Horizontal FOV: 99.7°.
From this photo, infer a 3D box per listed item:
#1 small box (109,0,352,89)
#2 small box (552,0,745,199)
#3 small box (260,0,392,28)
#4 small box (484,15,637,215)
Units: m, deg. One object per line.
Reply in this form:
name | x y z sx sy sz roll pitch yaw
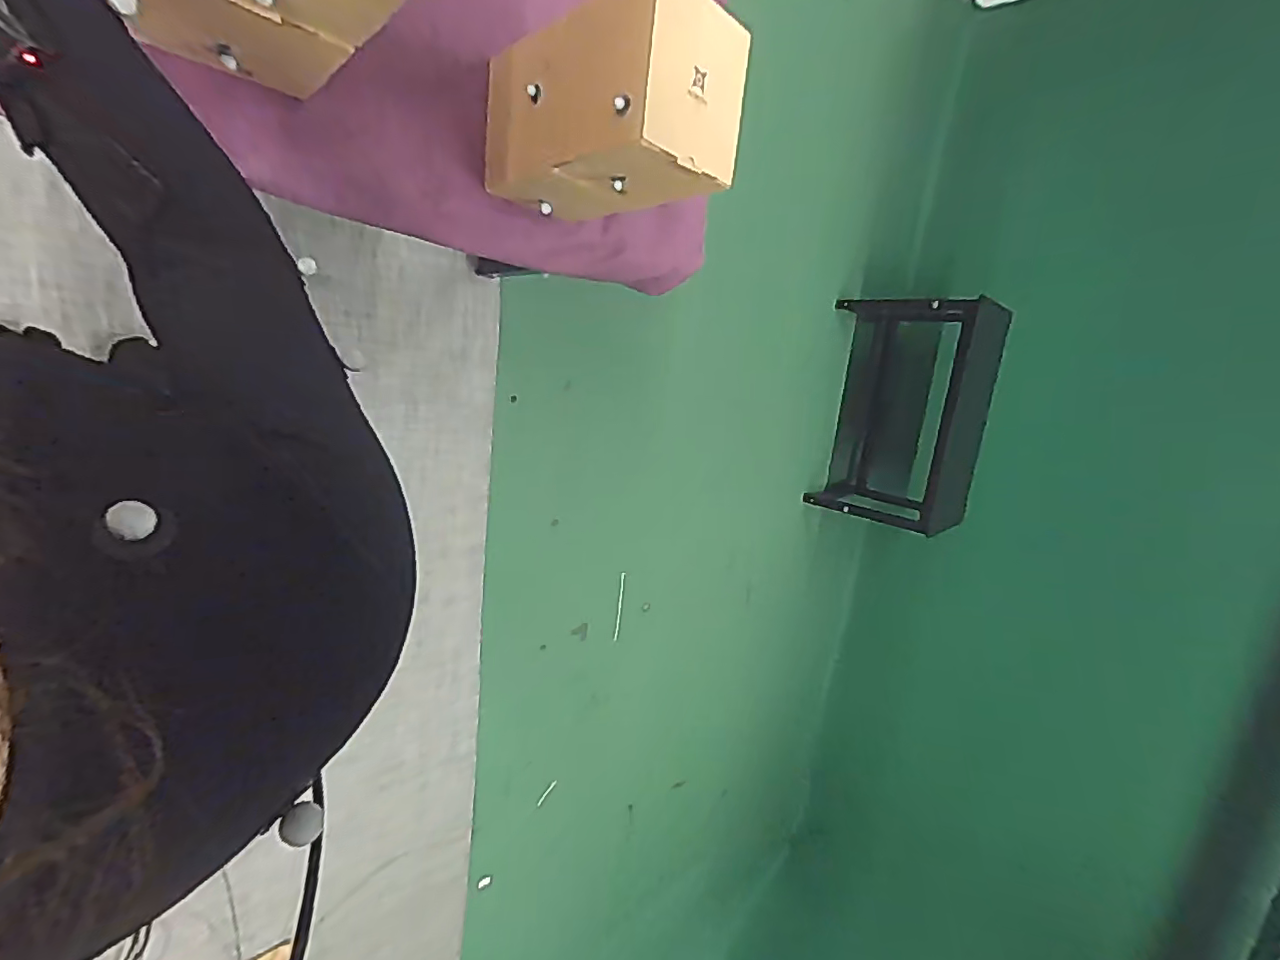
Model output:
small box | -0.380 -0.505 0.493 0.168 0.176 0.179 -7 107 -45
small box | 0.006 -0.473 0.672 0.168 0.176 0.179 -6 107 -45
small box | -0.265 -0.469 0.382 0.179 0.176 0.168 -9 107 -46
small box | -0.111 -0.504 0.781 0.168 0.176 0.179 -6 107 -45
